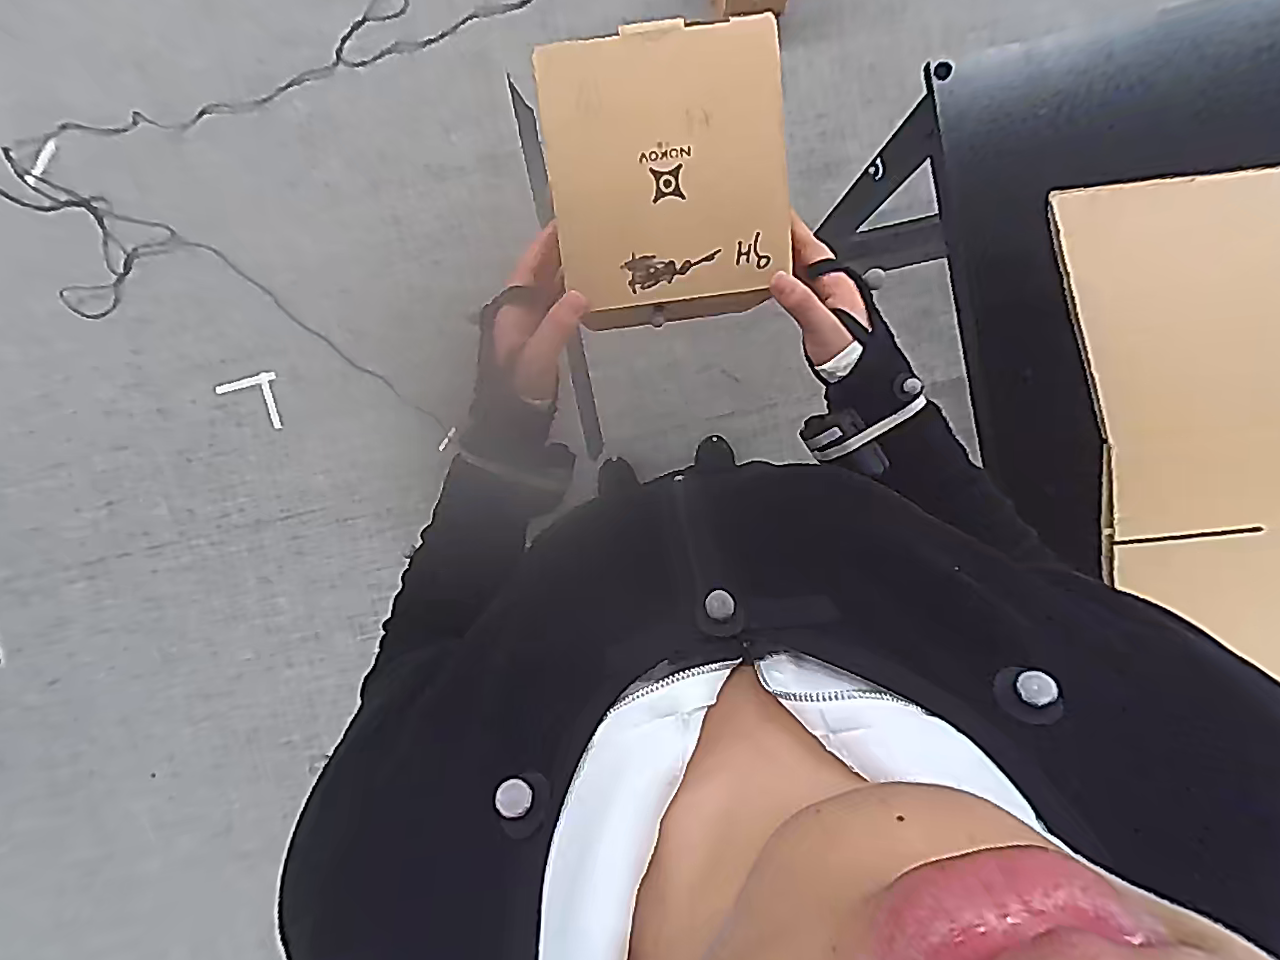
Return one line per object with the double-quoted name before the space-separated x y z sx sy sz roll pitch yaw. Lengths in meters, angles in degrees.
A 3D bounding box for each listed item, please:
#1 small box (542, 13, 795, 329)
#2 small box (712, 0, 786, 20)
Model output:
"small box" 0.021 -0.233 0.455 0.168 0.176 0.179 -7 100 2
"small box" 0.272 -1.260 1.326 0.179 0.176 0.168 -16 93 2
